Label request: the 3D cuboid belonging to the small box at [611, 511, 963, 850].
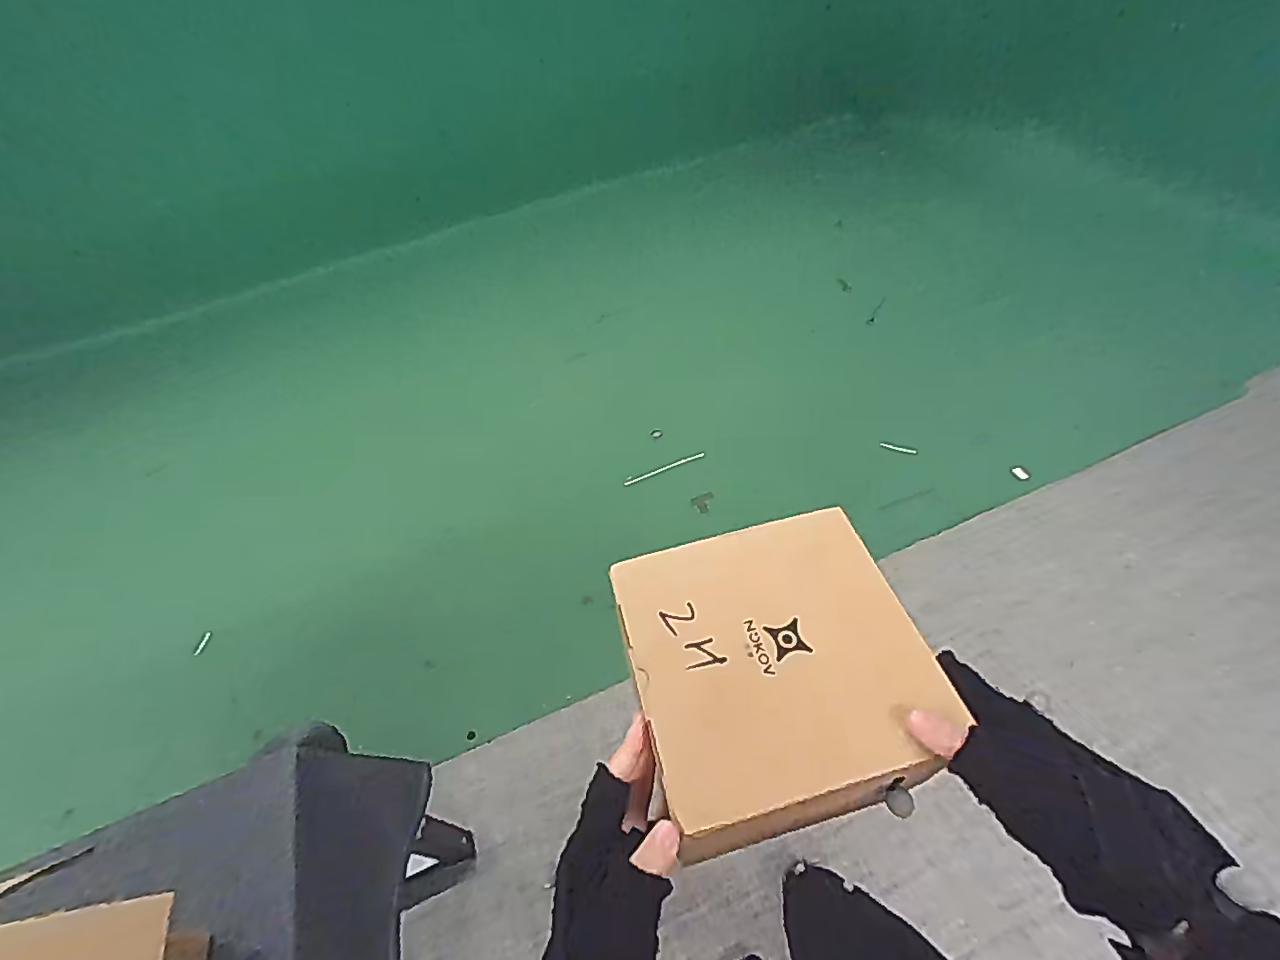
[{"bbox_3d":[0.082,0.151,0.401,0.179,0.176,0.168,-12,50,-7],"label":"small box"}]
